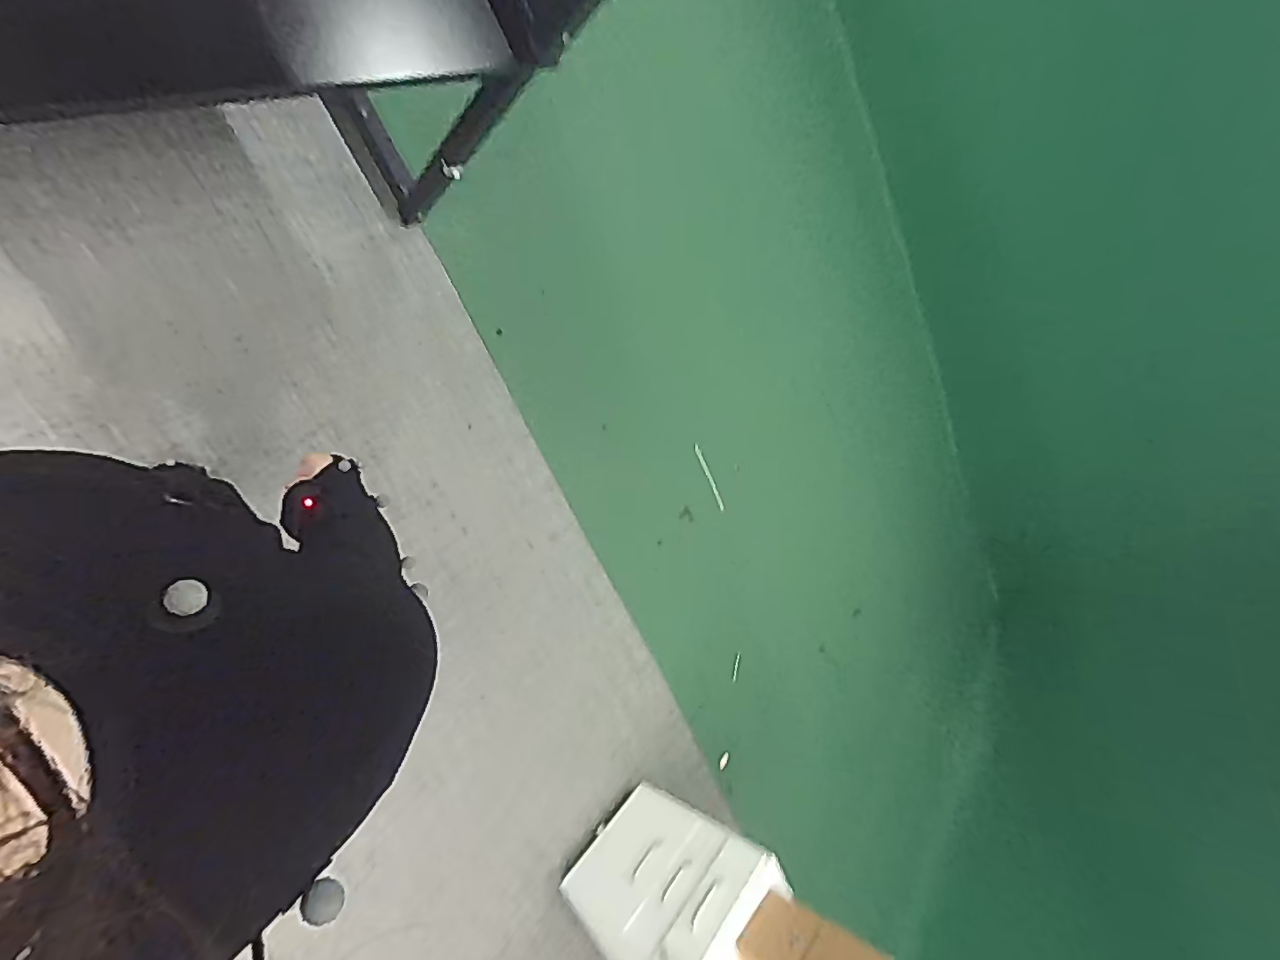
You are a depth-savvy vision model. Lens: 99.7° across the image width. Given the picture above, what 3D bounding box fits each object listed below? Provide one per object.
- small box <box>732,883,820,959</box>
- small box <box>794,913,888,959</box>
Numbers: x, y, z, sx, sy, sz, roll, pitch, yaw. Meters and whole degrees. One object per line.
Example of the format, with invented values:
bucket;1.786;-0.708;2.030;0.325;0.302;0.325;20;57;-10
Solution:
small box;0.362;1.184;1.370;0.179;0.176;0.168;-30;106;-37
small box;0.468;1.172;1.248;0.179;0.176;0.168;-31;108;-39
